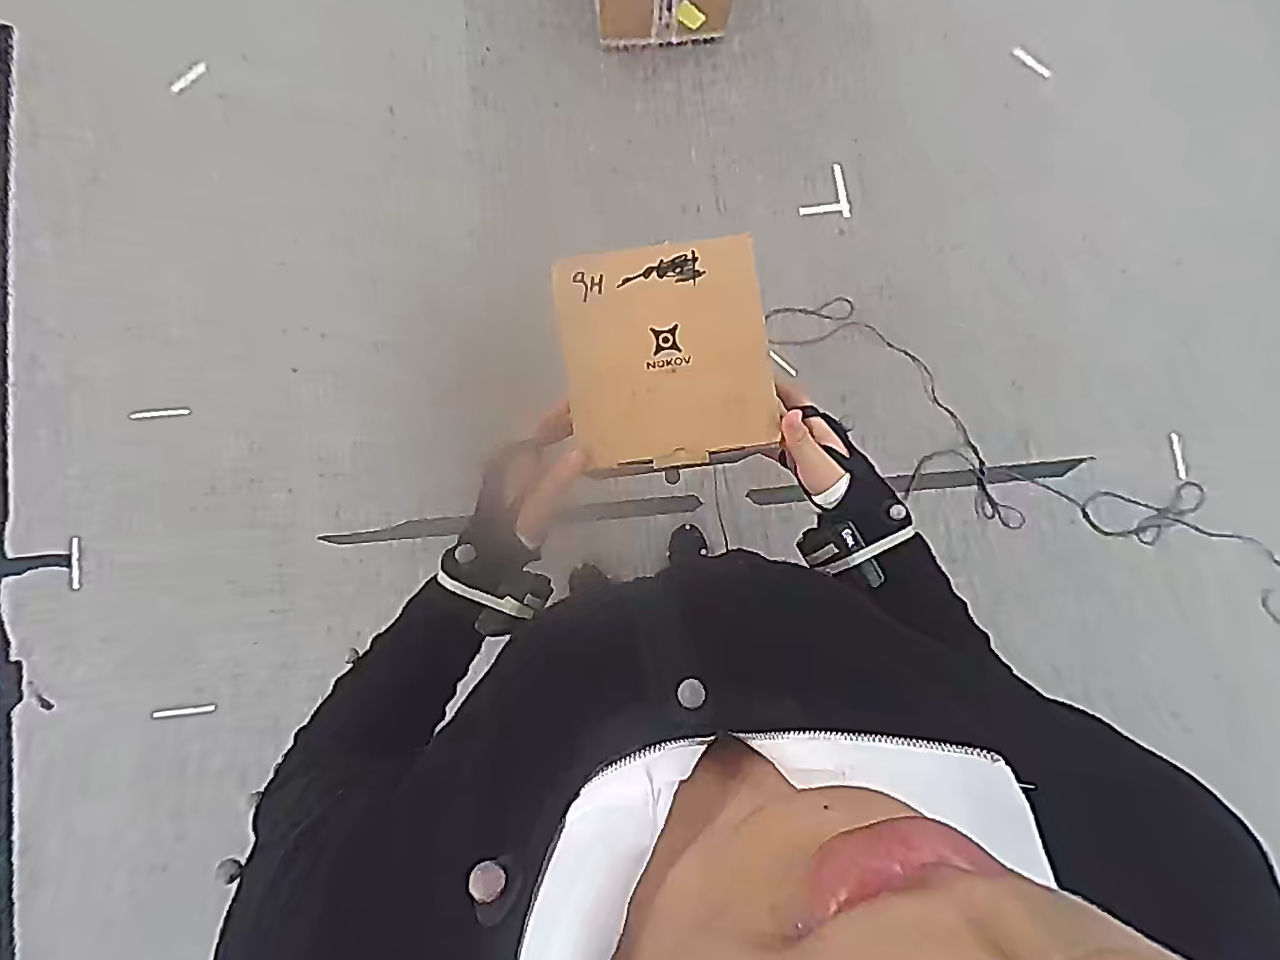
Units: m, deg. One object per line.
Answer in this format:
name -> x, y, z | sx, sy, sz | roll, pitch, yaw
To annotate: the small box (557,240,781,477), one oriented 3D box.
small box -> 0.022, -0.098, 0.514 | 0.168, 0.176, 0.179 | -8, 88, -2
